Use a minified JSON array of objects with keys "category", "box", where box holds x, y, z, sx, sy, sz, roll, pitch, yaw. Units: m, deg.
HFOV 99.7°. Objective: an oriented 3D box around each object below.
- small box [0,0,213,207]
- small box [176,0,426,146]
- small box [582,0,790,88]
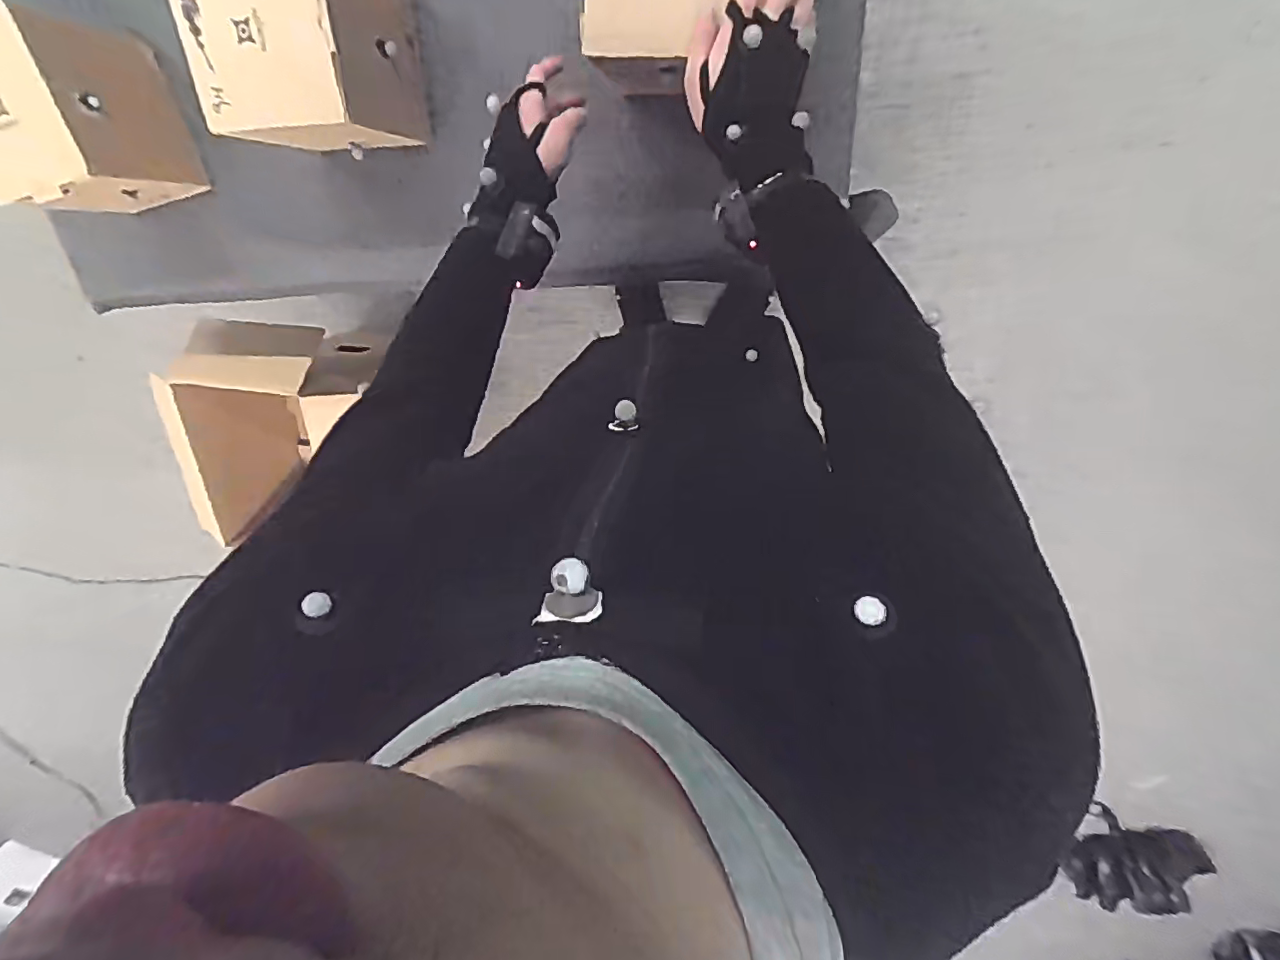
[{"category":"small box","box":[-0.722,-0.468,0.707,0.168,0.176,0.179,-7,111,15]},{"category":"small box","box":[-0.366,-0.486,0.611,0.179,0.176,0.168,4,116,11]},{"category":"small box","box":[0.054,-0.485,0.508,0.179,0.176,0.168,8,117,9]}]
